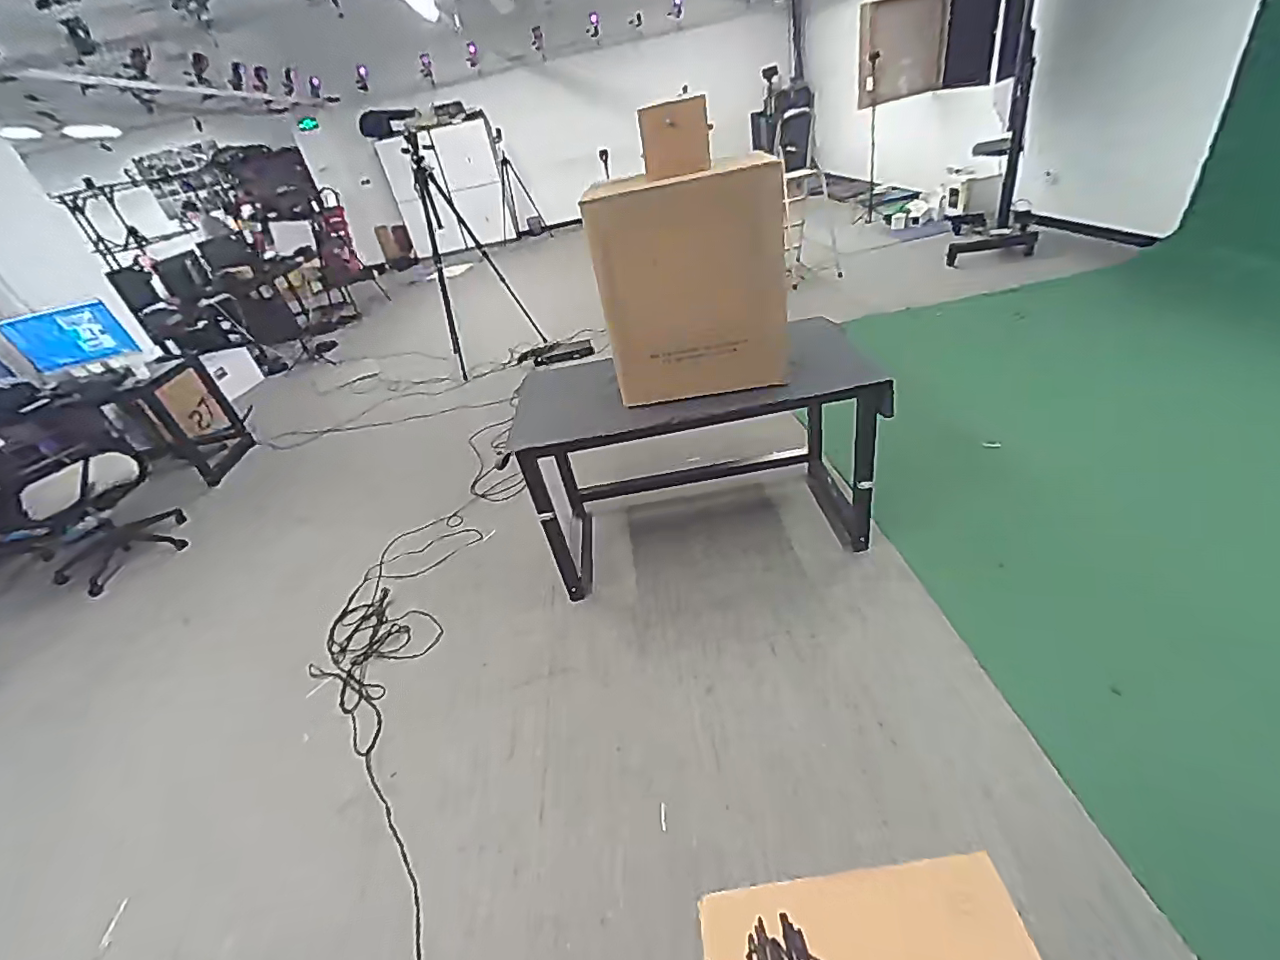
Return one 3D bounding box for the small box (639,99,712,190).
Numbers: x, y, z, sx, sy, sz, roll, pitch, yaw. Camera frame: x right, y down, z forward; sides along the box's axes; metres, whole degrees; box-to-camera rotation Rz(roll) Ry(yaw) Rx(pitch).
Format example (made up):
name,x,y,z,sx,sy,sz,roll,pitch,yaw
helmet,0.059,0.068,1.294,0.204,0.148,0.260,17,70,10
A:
name,x,y,z,sx,sy,sz,roll,pitch,yaw
small box,0.101,-0.899,1.451,0.179,0.176,0.168,-7,37,9
